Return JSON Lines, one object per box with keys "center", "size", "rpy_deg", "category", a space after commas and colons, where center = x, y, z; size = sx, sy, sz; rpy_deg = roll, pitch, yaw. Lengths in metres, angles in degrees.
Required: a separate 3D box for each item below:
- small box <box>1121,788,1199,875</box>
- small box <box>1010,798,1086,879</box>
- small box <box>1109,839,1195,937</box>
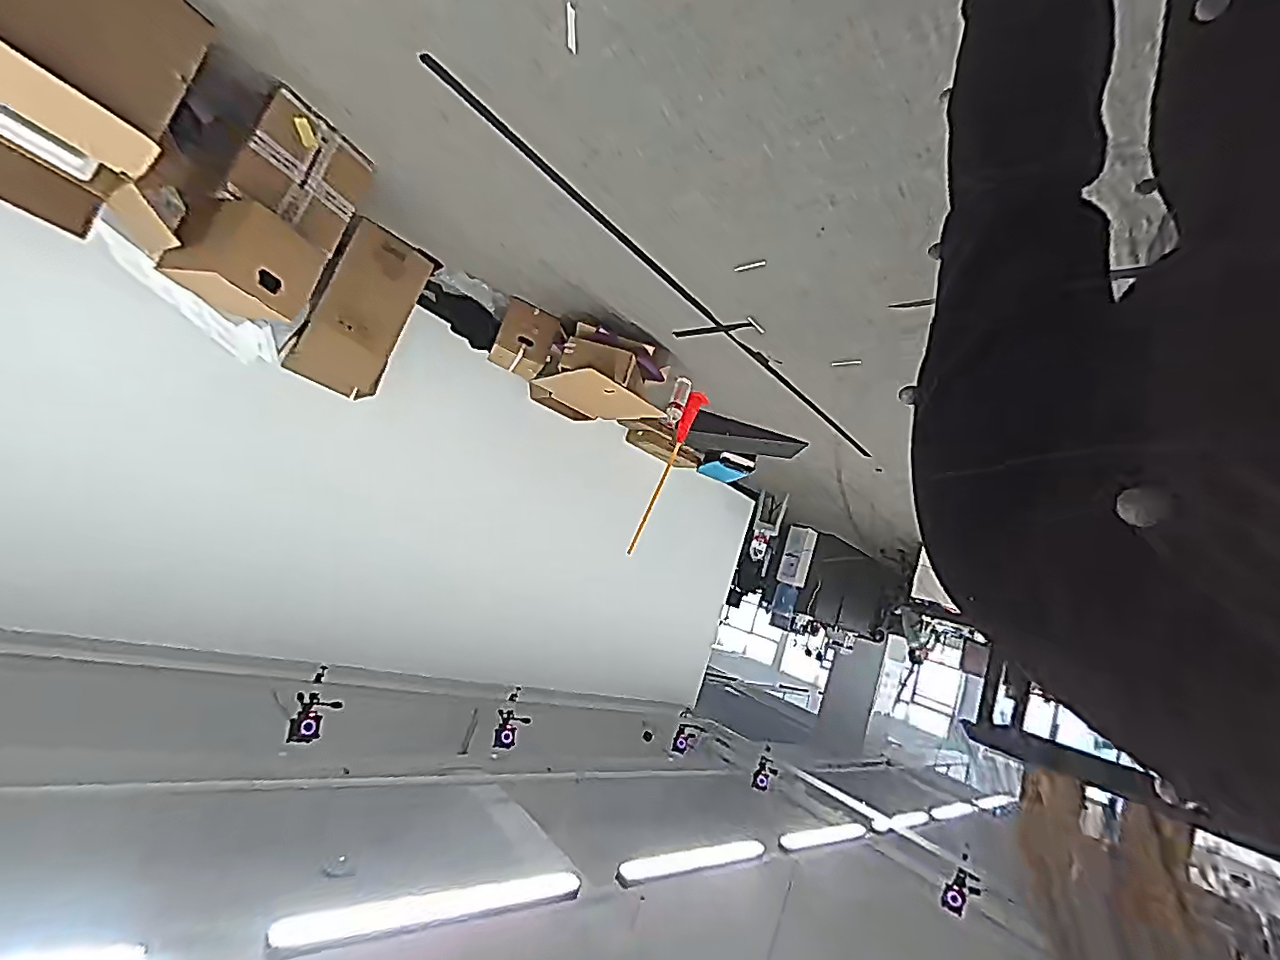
{"center": [1.662, 1.116, 1.732], "size": [0.168, 0.176, 0.179], "rpy_deg": [9, 169, 45], "category": "small box"}
{"center": [1.425, 1.239, 1.886], "size": [0.168, 0.176, 0.179], "rpy_deg": [22, 169, -42], "category": "small box"}
{"center": [1.608, 1.269, 1.702], "size": [0.179, 0.176, 0.168], "rpy_deg": [7, 169, 44], "category": "small box"}
